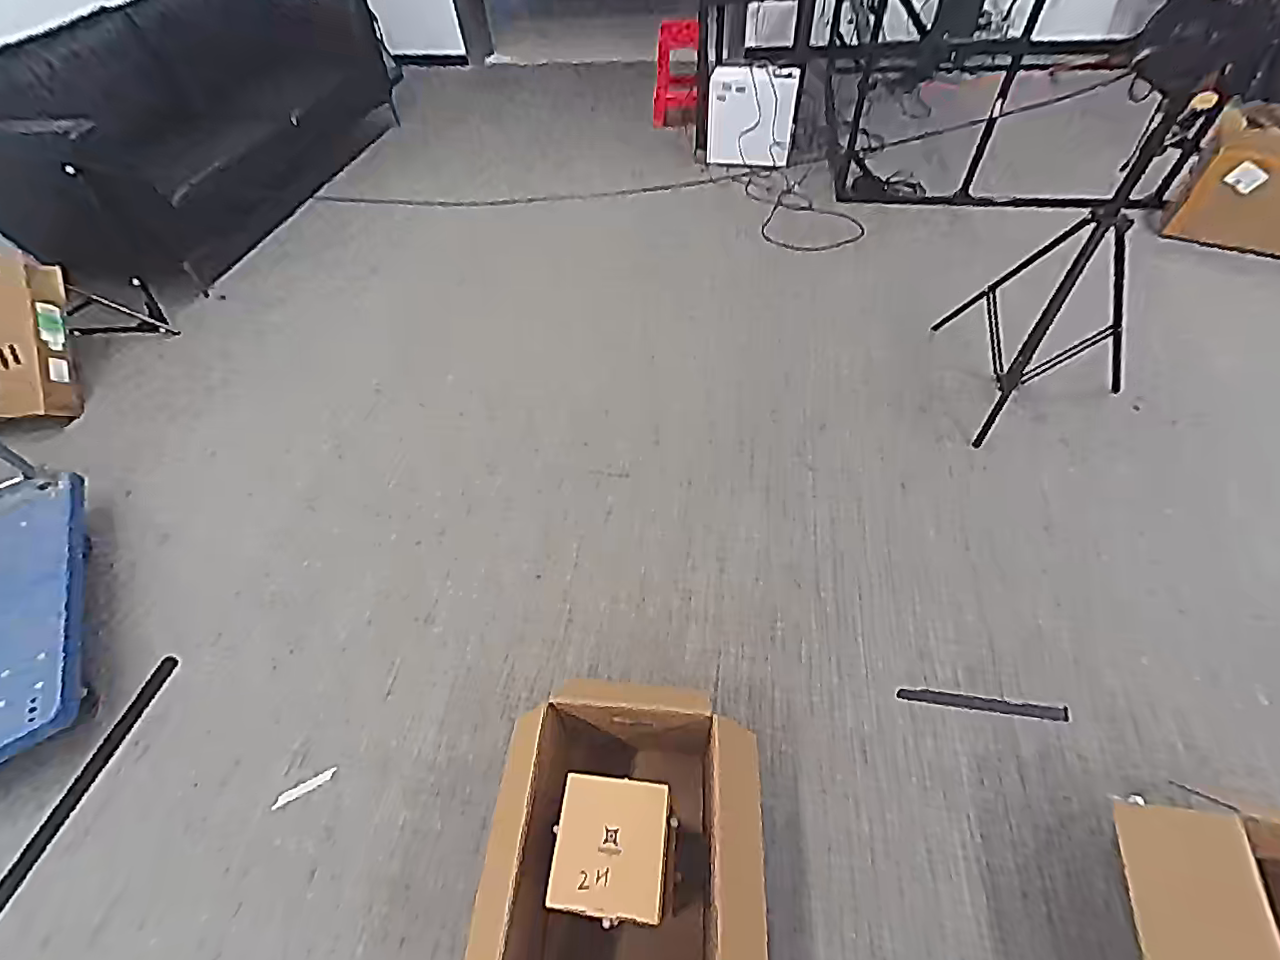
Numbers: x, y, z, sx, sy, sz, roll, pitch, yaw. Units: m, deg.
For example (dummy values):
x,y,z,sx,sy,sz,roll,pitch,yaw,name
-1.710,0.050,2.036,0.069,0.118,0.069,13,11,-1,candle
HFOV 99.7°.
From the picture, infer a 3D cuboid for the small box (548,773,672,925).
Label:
x,y,z,sx,sy,sz,roll,pitch,yaw,name
-0.038,0.599,0.879,0.168,0.176,0.179,3,52,7,small box
